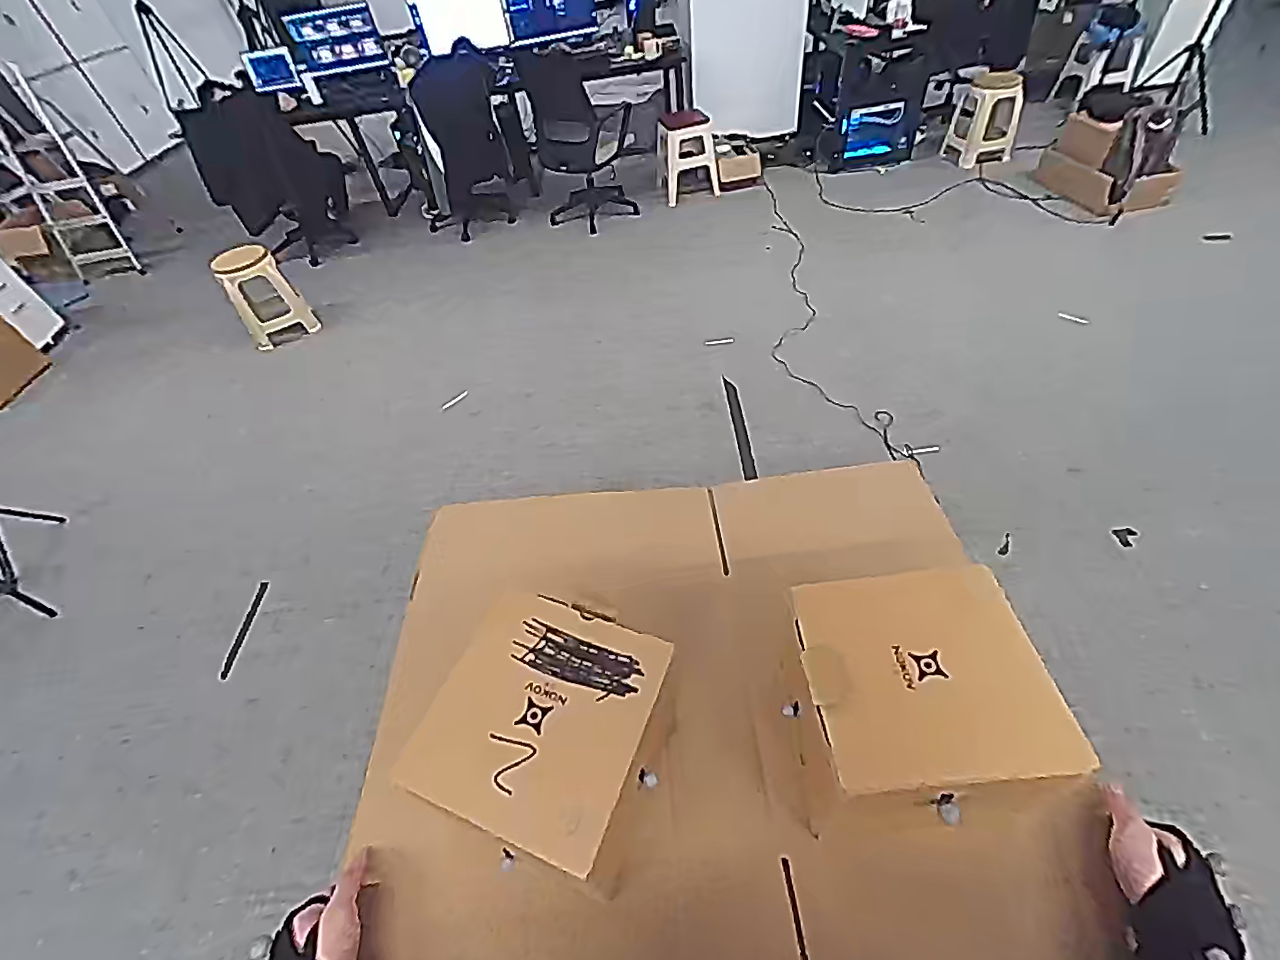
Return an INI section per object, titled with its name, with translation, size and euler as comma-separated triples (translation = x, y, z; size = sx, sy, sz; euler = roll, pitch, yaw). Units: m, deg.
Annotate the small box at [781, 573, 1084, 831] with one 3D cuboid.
[small box]
translation = 0.236, 0.207, 0.497
size = 0.179, 0.176, 0.168
euler = -8, 47, 5
